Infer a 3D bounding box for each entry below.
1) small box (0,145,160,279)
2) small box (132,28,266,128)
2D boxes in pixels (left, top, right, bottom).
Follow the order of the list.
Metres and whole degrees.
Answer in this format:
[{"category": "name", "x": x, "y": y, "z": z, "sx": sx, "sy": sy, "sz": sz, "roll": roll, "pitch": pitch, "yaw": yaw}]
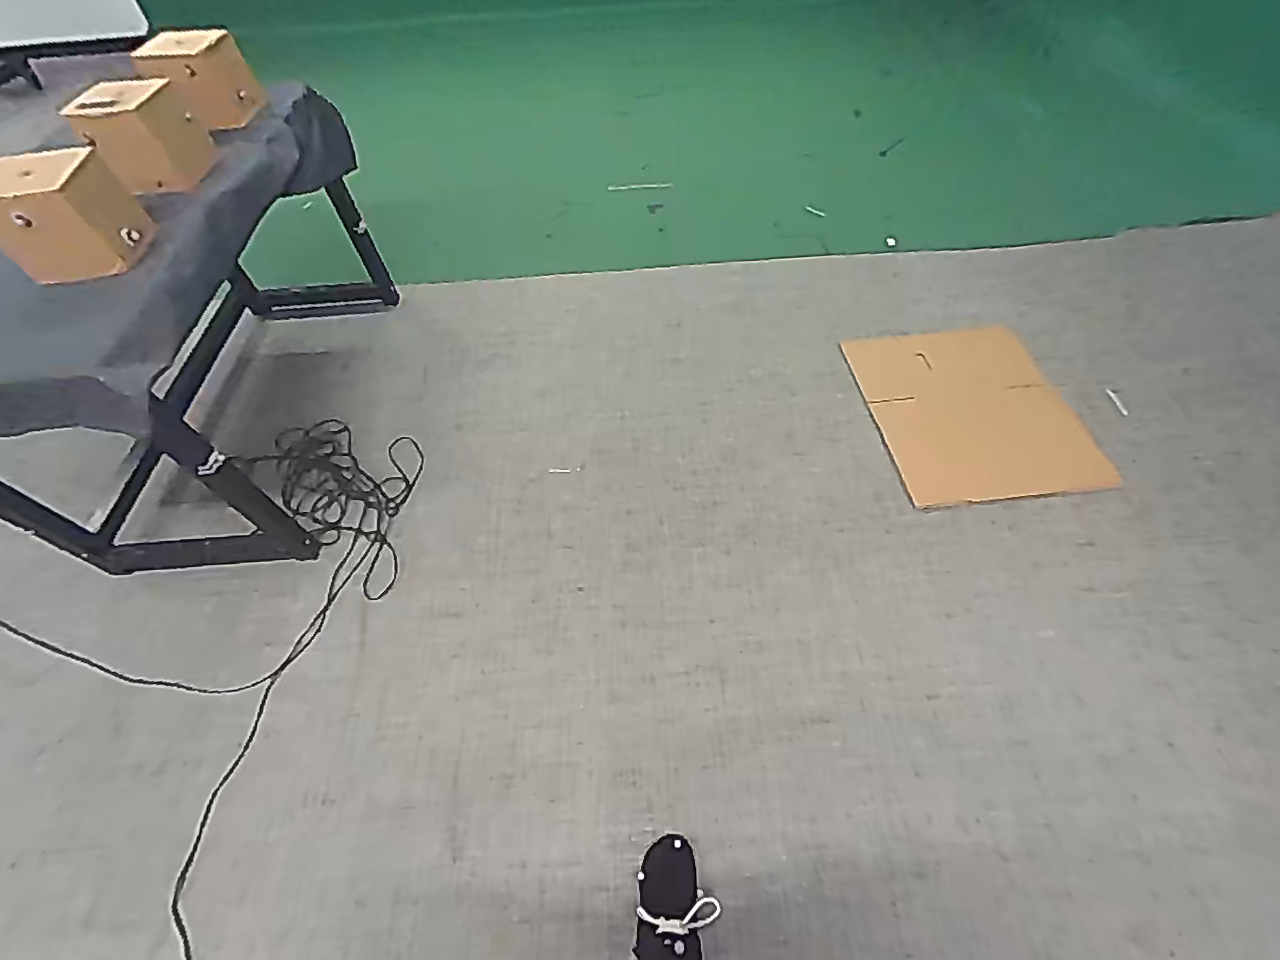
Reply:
[{"category": "small box", "x": -1.096, "y": -0.508, "z": 1.039, "sx": 0.179, "sy": 0.176, "sz": 0.168, "roll": -10, "pitch": 57, "yaw": -5}, {"category": "small box", "x": -1.135, "y": -1.043, "z": 1.408, "sx": 0.179, "sy": 0.176, "sz": 0.168, "roll": -1, "pitch": 56, "yaw": 3}]
